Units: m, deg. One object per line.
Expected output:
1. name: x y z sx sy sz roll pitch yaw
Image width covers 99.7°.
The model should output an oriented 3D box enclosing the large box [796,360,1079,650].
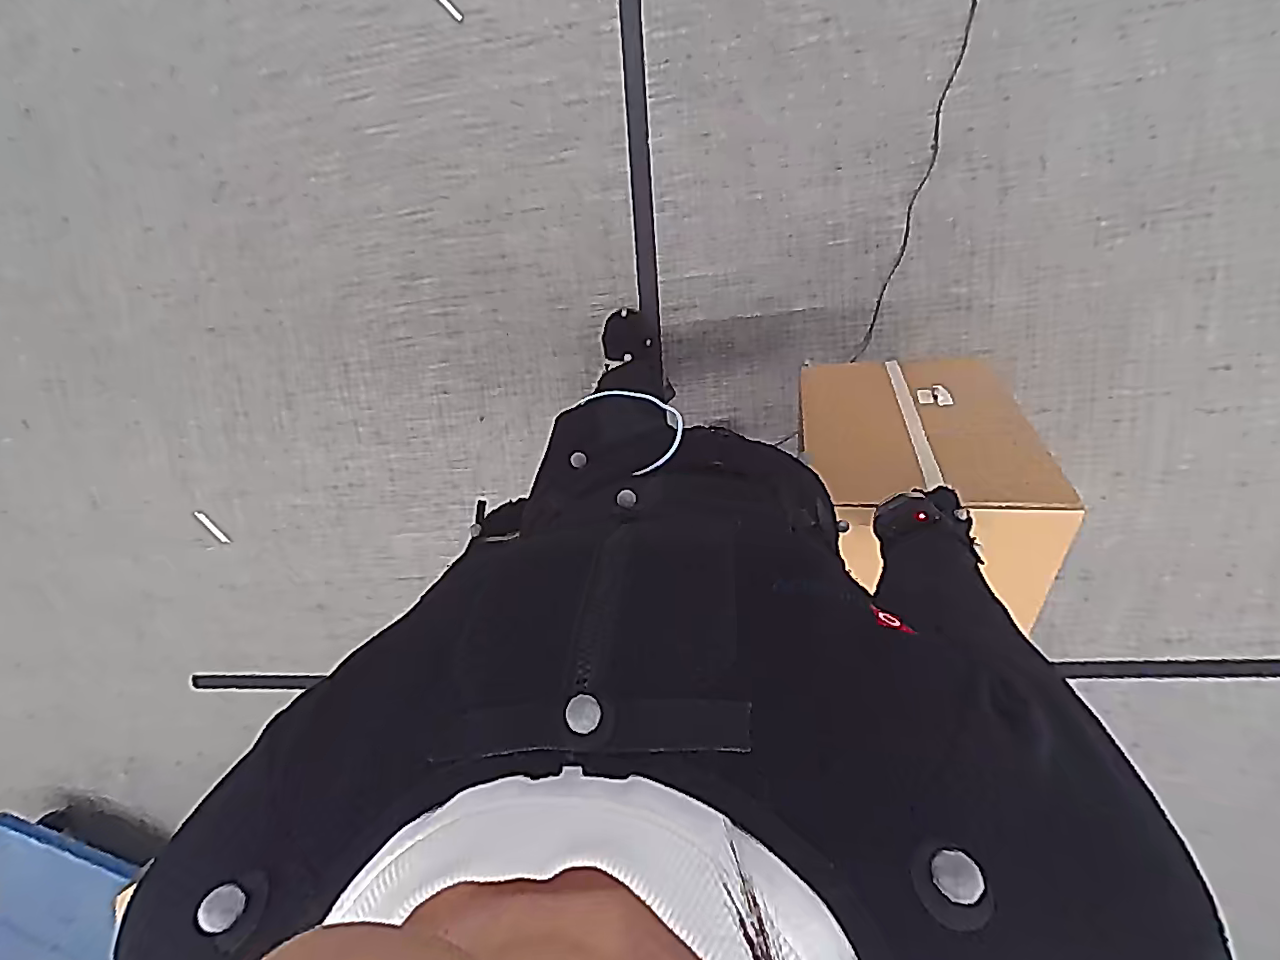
1. large box: 0.436 0.030 0.918 0.320 0.408 0.320 0 126 13
